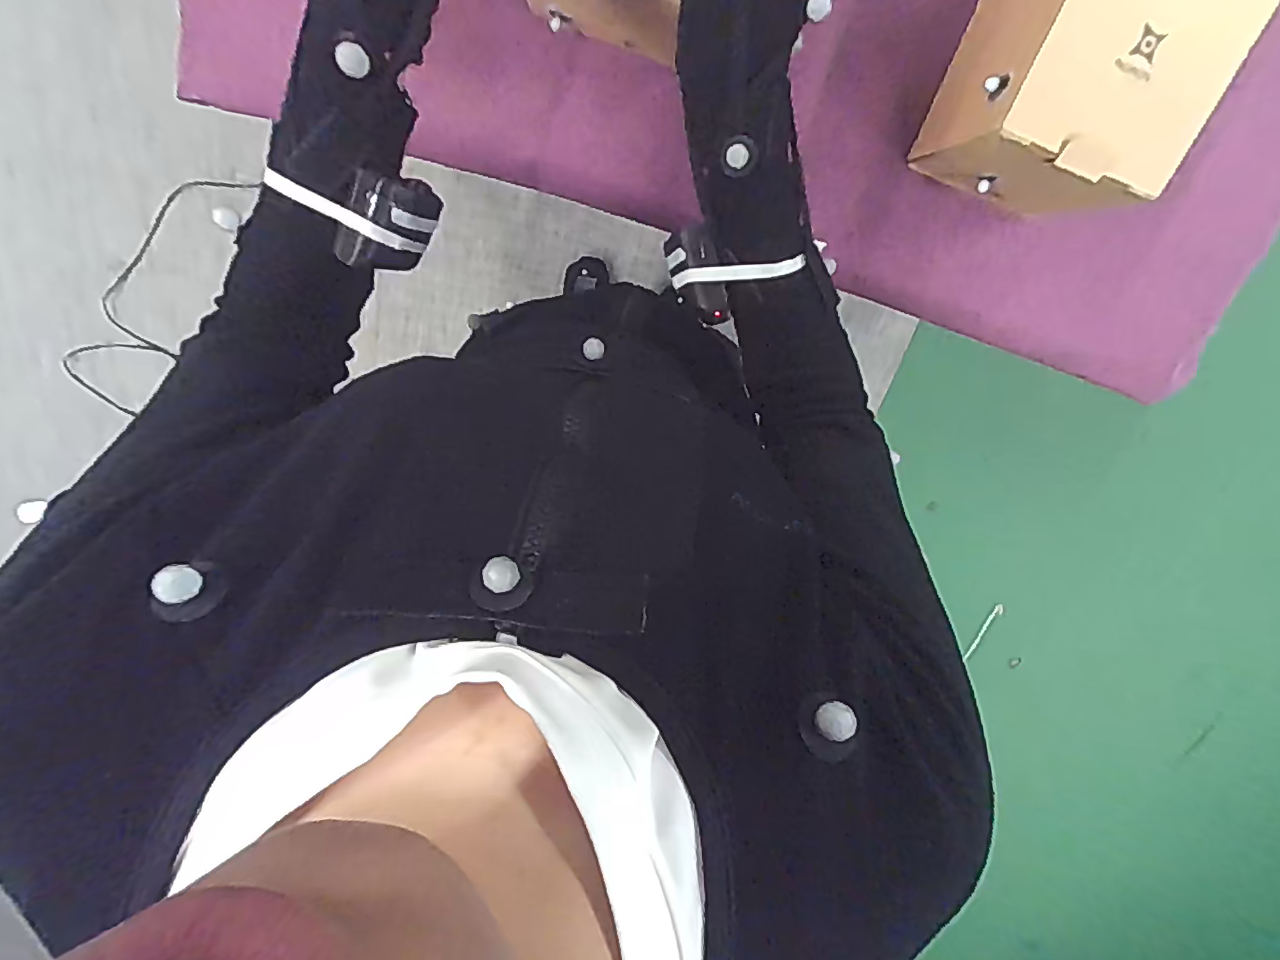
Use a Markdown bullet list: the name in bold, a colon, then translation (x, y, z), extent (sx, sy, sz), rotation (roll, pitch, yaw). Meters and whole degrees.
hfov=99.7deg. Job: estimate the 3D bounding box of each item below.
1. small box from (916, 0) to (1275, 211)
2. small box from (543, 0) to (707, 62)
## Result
- **small box**: translation (0.404, -0.378, 0.514), extent (0.168, 0.176, 0.179), rotation (17, 111, -8)
- **small box**: translation (-0.003, -0.499, 0.456), extent (0.168, 0.176, 0.179), rotation (16, 111, -8)
